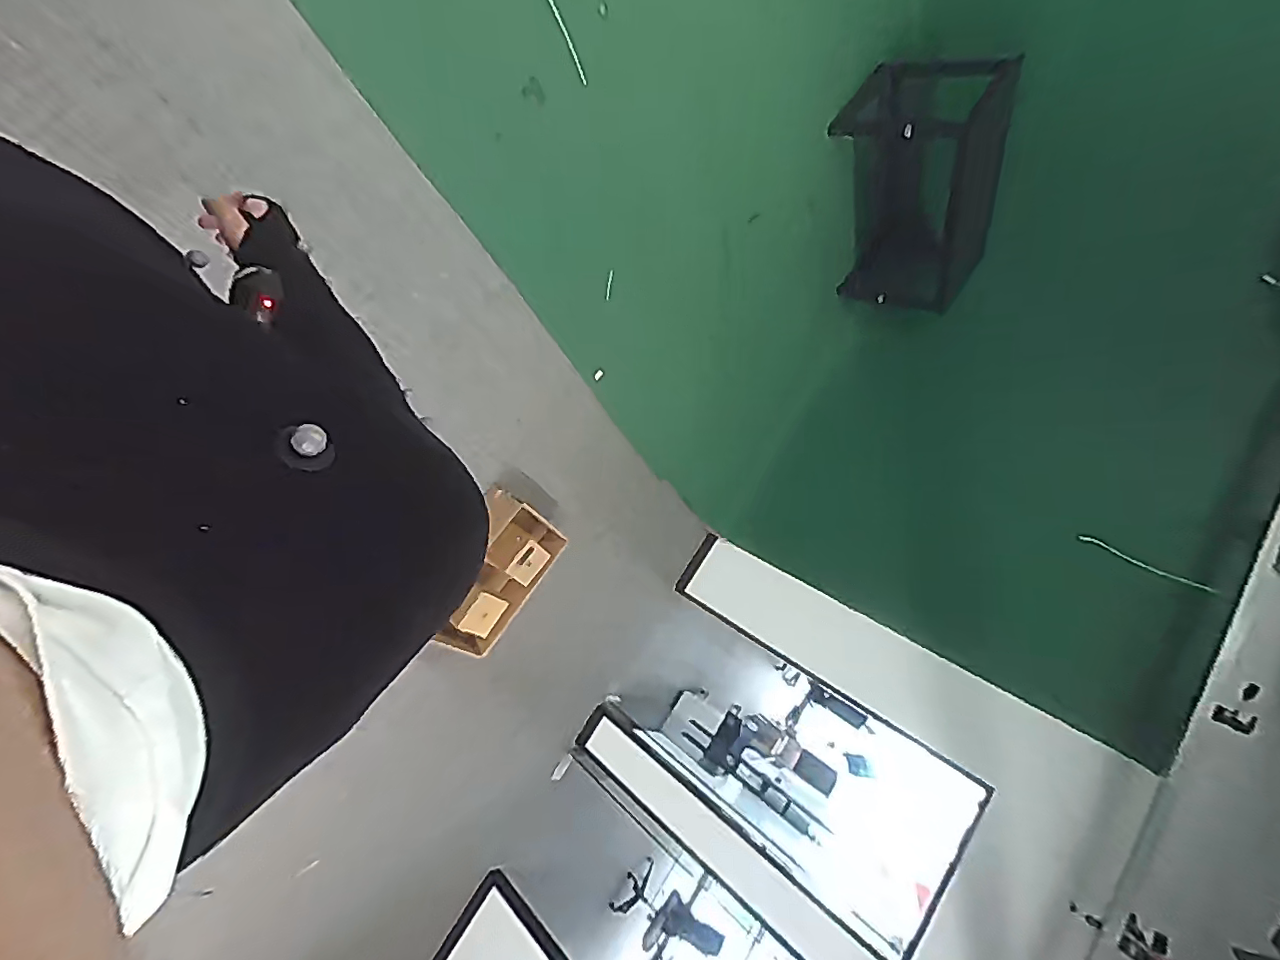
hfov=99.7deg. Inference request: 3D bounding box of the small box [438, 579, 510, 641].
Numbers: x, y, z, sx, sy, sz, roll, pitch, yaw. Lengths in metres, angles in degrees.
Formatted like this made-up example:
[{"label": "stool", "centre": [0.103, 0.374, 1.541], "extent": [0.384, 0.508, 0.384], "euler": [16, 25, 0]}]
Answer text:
[{"label": "small box", "centre": [-0.665, 0.518, 2.166], "extent": [0.168, 0.176, 0.179], "euler": [-56, 144, -10]}]
